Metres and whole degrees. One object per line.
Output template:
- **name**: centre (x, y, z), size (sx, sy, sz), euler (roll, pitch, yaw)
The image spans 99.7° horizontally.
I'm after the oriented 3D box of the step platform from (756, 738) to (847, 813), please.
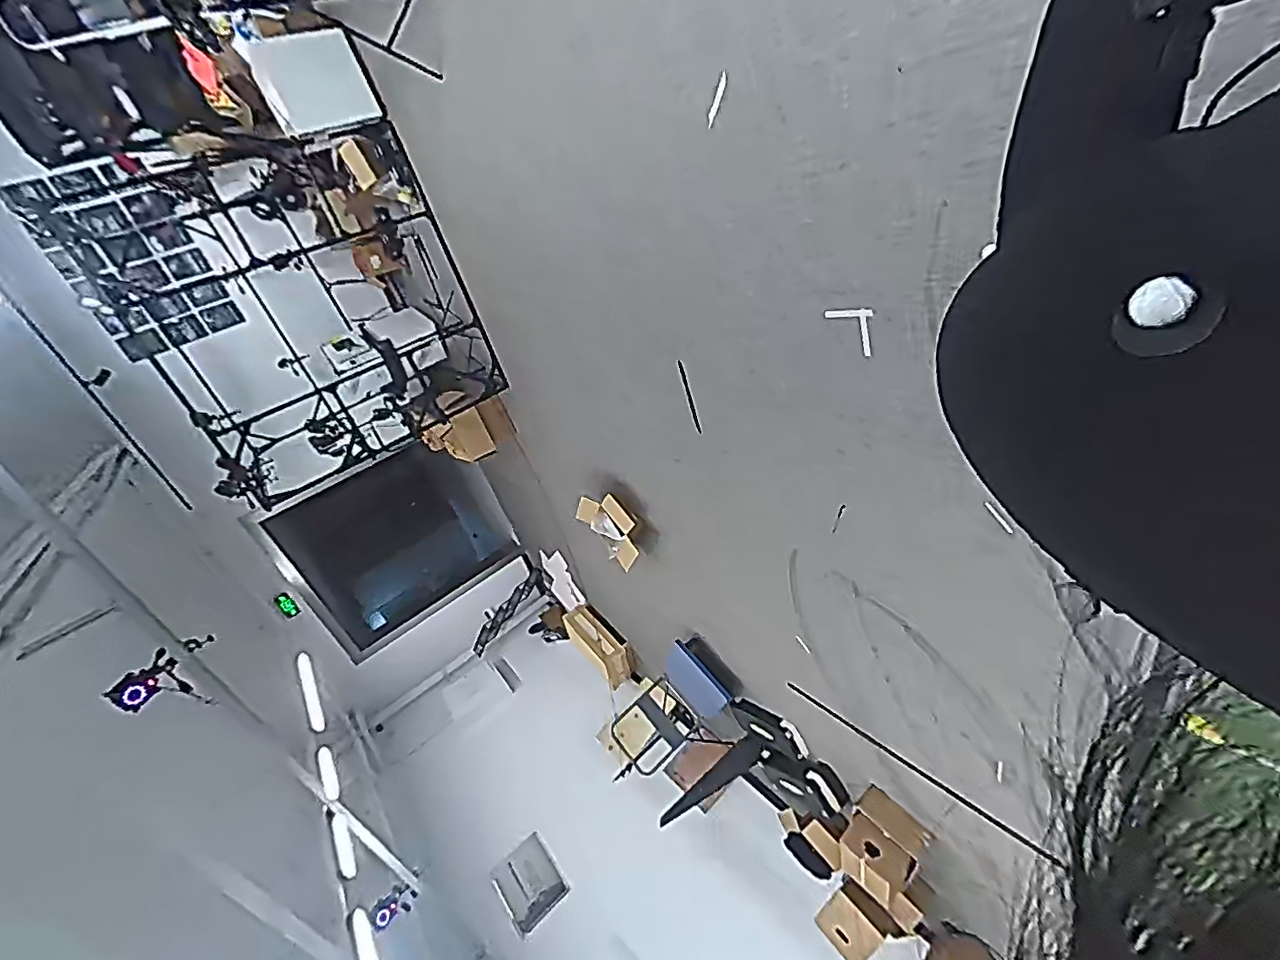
- **step platform**: centre (1.129, 2.099, 3.860), size (0.286, 0.204, 0.684), euler (57, 154, -3)
